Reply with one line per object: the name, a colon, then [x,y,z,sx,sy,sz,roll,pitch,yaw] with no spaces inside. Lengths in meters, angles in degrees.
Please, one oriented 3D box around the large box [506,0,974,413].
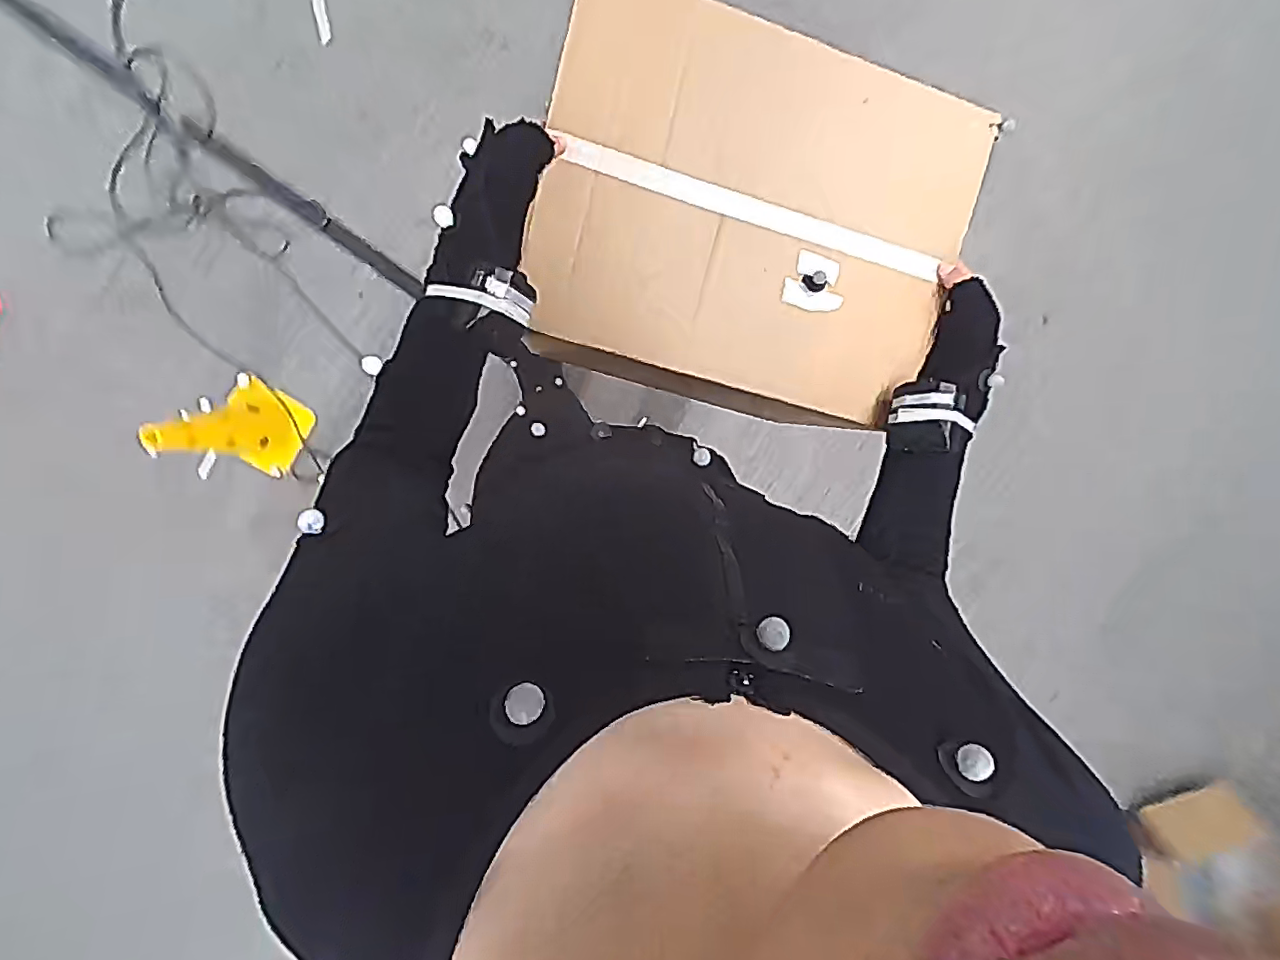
large box: [0.078,-0.272,0.647,0.408,0.320,0.320,12,96,-10]
